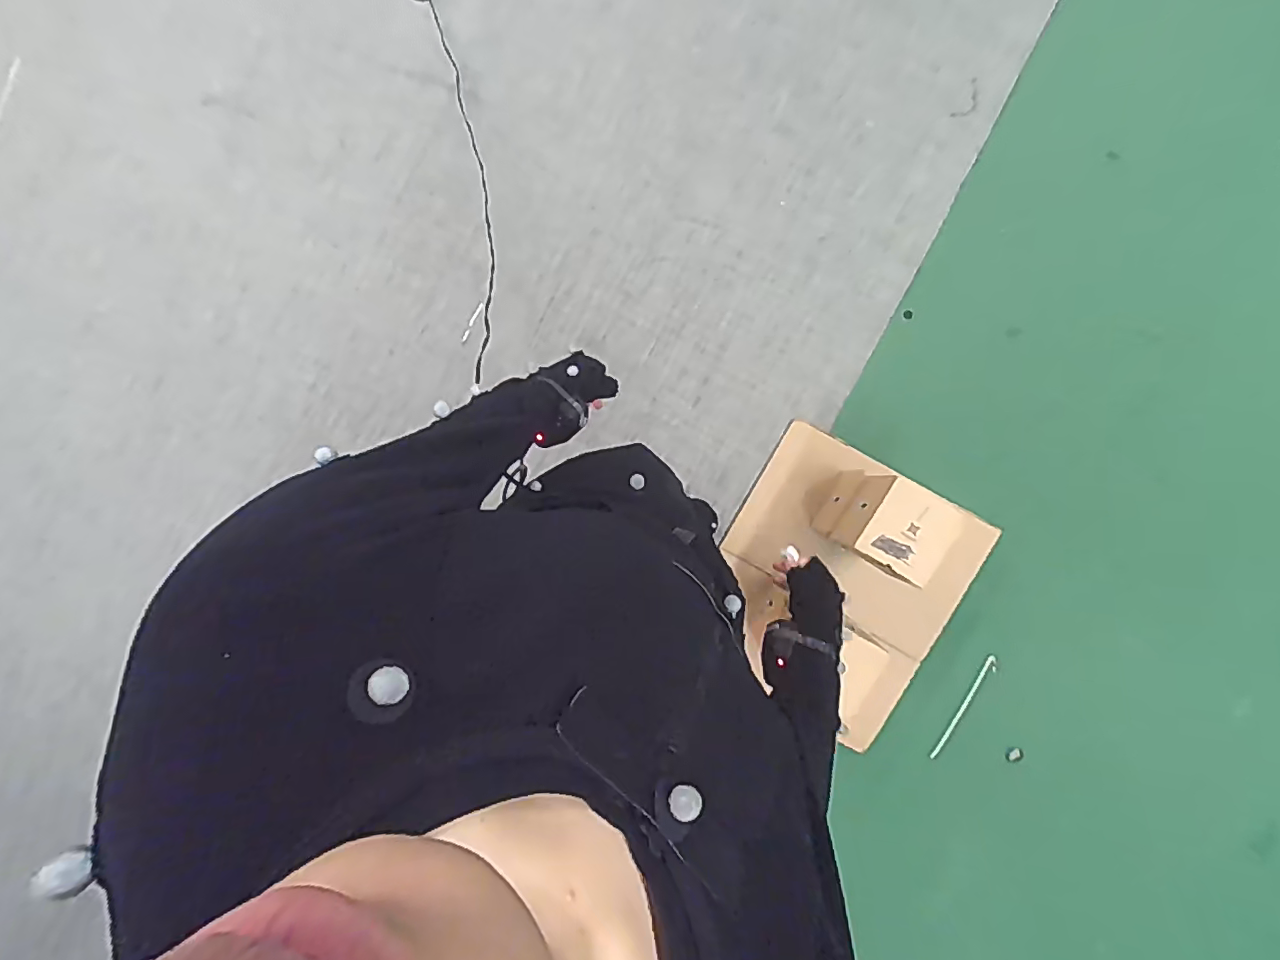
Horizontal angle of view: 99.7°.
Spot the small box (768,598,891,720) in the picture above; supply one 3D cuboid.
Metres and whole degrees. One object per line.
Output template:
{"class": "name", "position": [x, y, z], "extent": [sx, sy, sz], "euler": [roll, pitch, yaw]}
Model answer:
{"class": "small box", "position": [0.406, 0.381, 1.190], "extent": [0.179, 0.176, 0.168], "euler": [30, 93, 3]}

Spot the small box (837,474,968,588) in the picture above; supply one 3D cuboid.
{"class": "small box", "position": [0.551, 0.104, 1.170], "extent": [0.168, 0.176, 0.179], "euler": [32, 91, 2]}

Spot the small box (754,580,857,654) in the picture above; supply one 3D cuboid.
{"class": "small box", "position": [0.406, 0.370, 1.356], "extent": [0.179, 0.176, 0.168], "euler": [28, 93, 3]}
